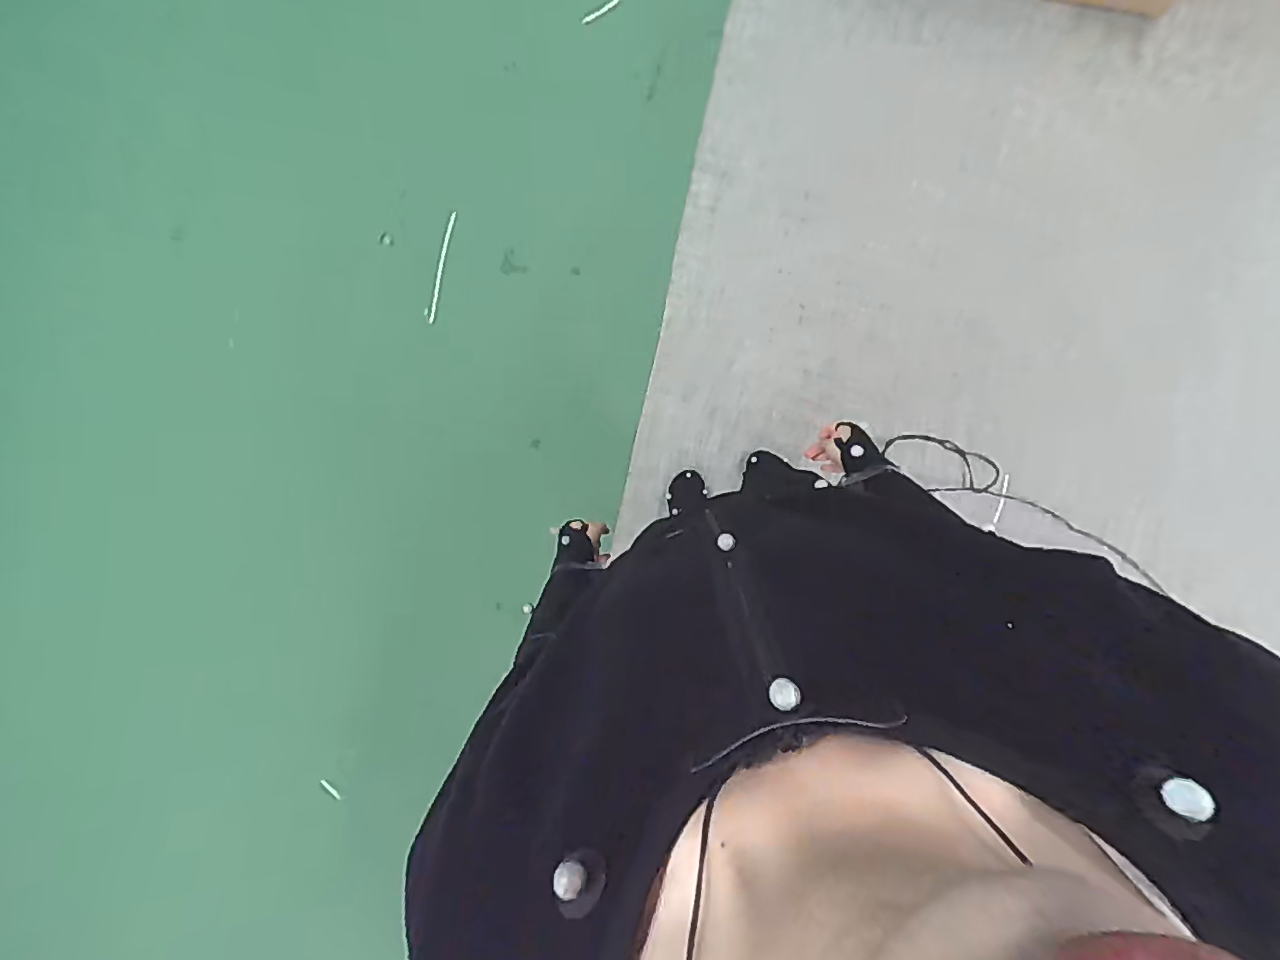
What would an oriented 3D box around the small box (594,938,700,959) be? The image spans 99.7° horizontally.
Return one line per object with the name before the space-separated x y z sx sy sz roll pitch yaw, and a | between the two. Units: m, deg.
small box | -0.002 0.791 0.746 0.179 0.176 0.168 10 94 5
